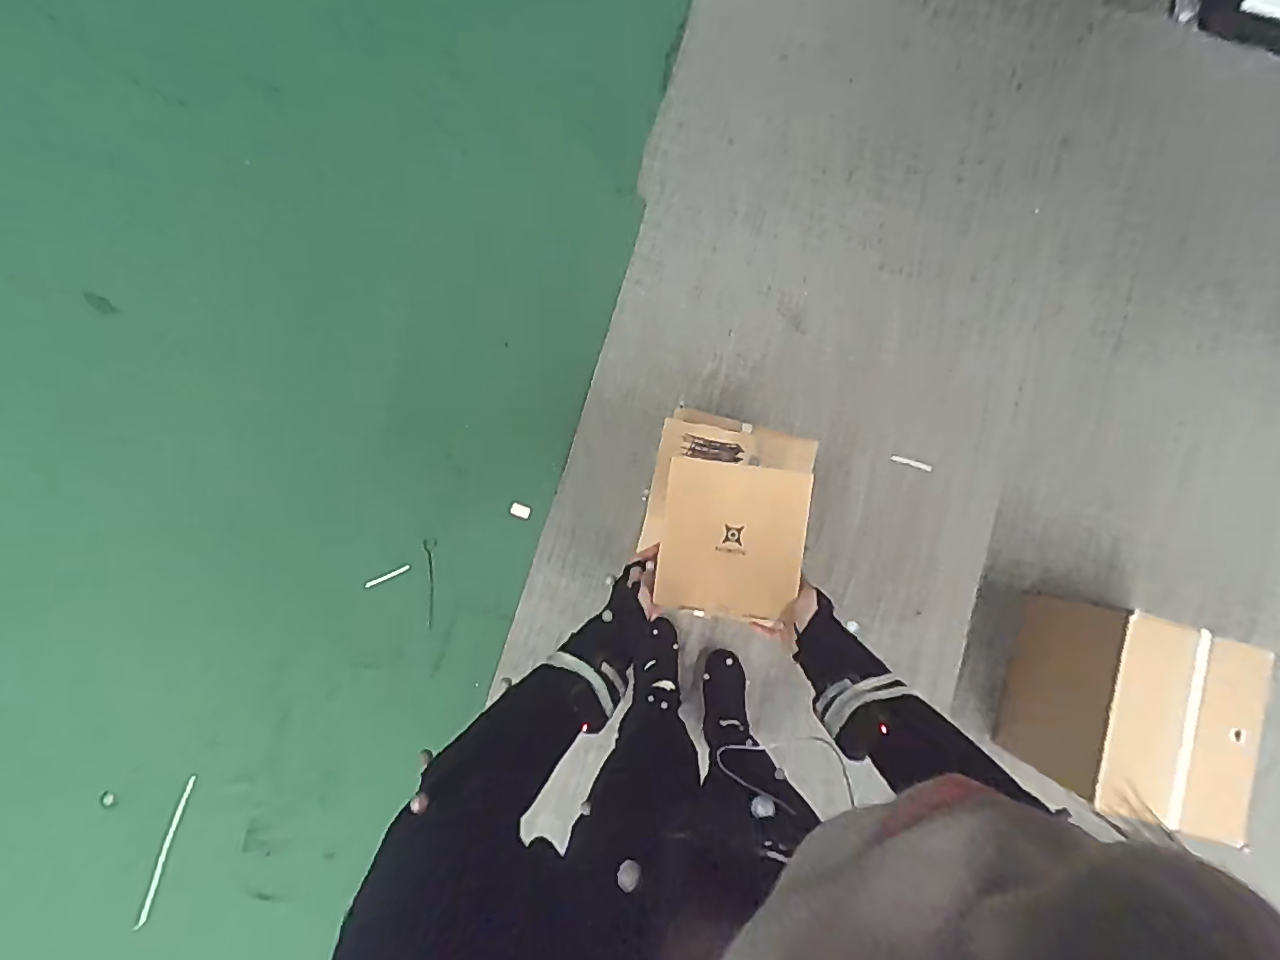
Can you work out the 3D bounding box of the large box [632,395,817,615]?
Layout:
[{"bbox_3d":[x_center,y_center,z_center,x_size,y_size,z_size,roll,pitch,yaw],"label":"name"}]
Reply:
[{"bbox_3d":[0.176,0.060,1.250,0.320,0.320,0.408,14,86,1],"label":"large box"}]

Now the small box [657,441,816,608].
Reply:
[{"bbox_3d":[0.115,0.049,0.702,0.168,0.176,0.179,7,92,4],"label":"small box"}]
